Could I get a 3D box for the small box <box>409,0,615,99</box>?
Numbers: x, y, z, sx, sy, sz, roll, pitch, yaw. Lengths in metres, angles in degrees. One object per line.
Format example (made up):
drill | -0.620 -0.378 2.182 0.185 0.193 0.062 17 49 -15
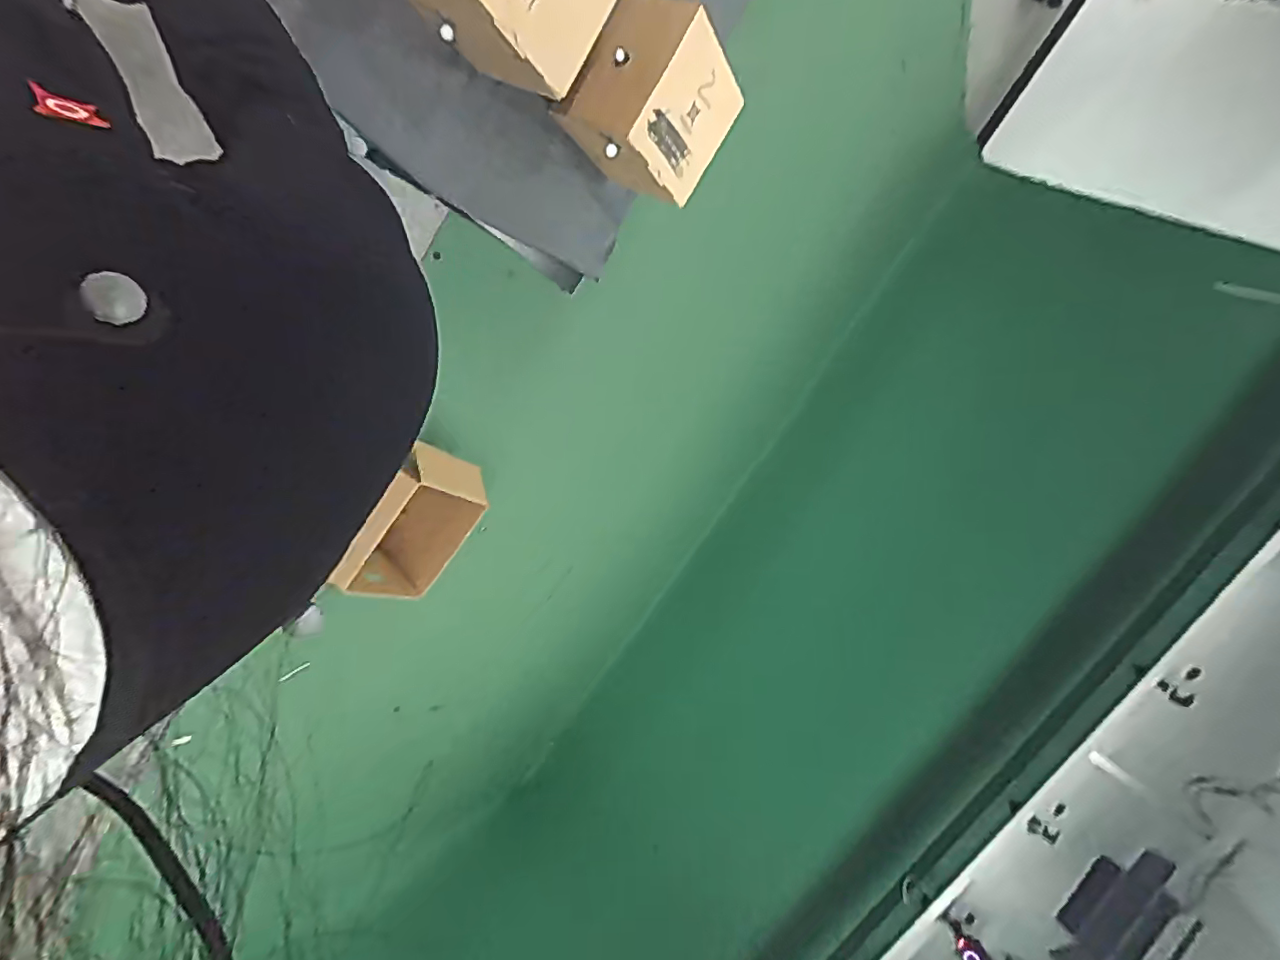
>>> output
small box | -0.139 -0.549 0.556 0.179 0.176 0.168 -57 151 10
